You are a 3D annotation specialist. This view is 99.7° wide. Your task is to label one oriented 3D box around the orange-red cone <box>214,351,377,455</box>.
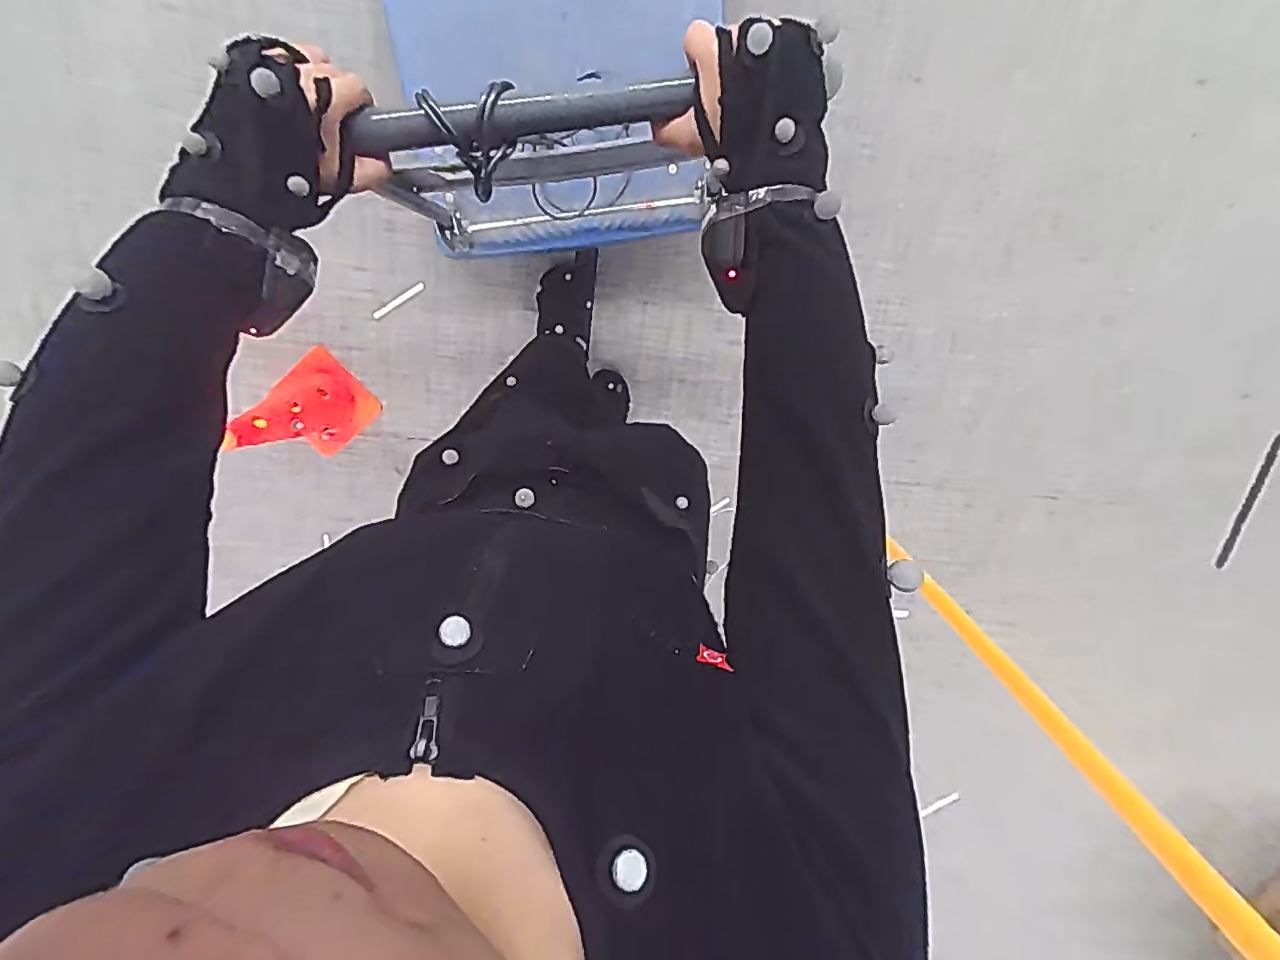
[{"bbox_3d":[-0.742,-0.126,1.116,0.199,0.360,0.198,-37,107,8],"label":"orange-red cone"}]
